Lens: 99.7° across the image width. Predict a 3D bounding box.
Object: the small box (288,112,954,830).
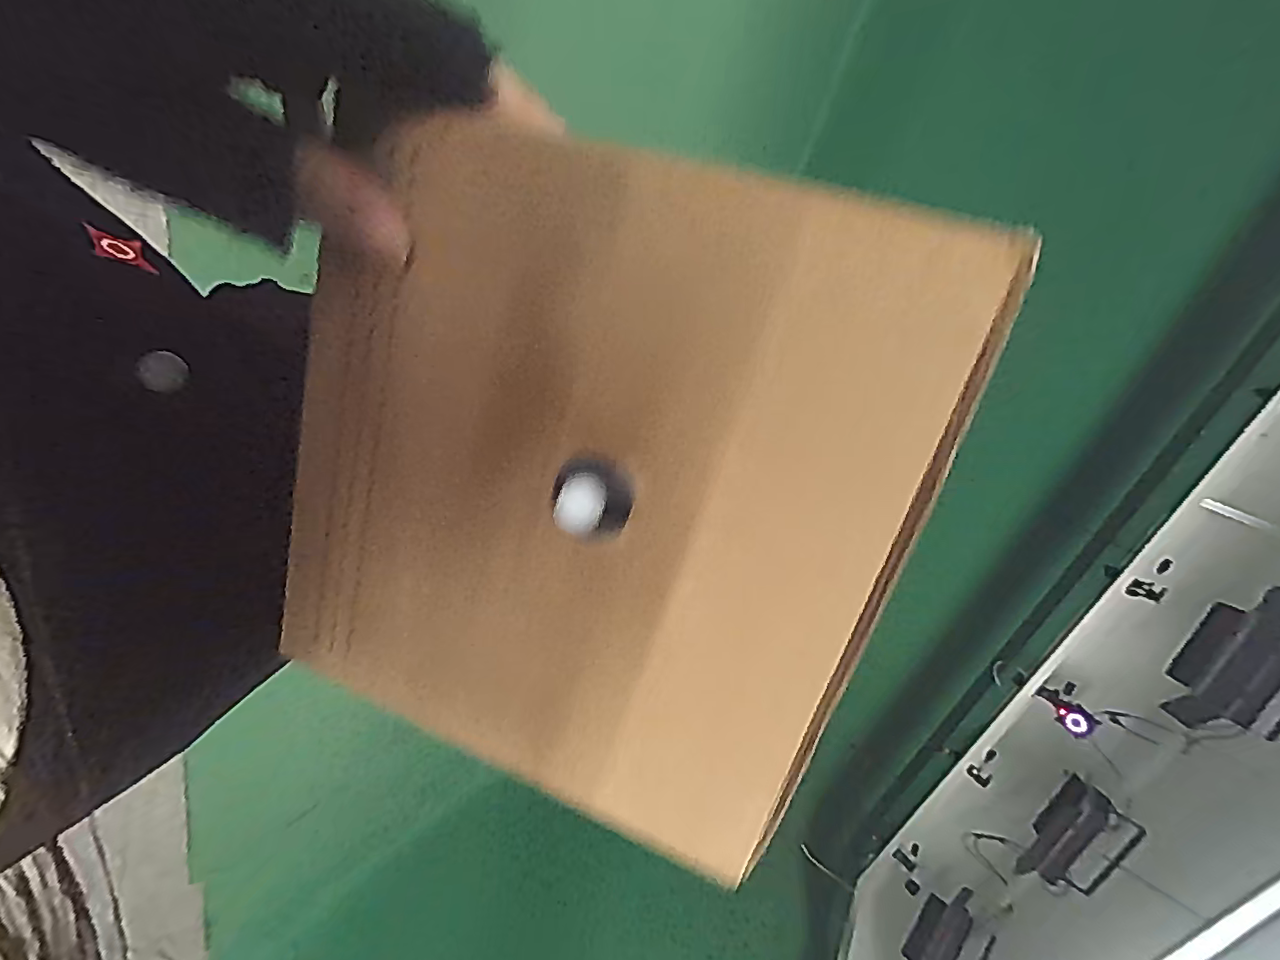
[{"bbox_3d":[-0.011,-0.015,0.228,0.168,0.176,0.179,-39,146,-71],"label":"small box"}]
